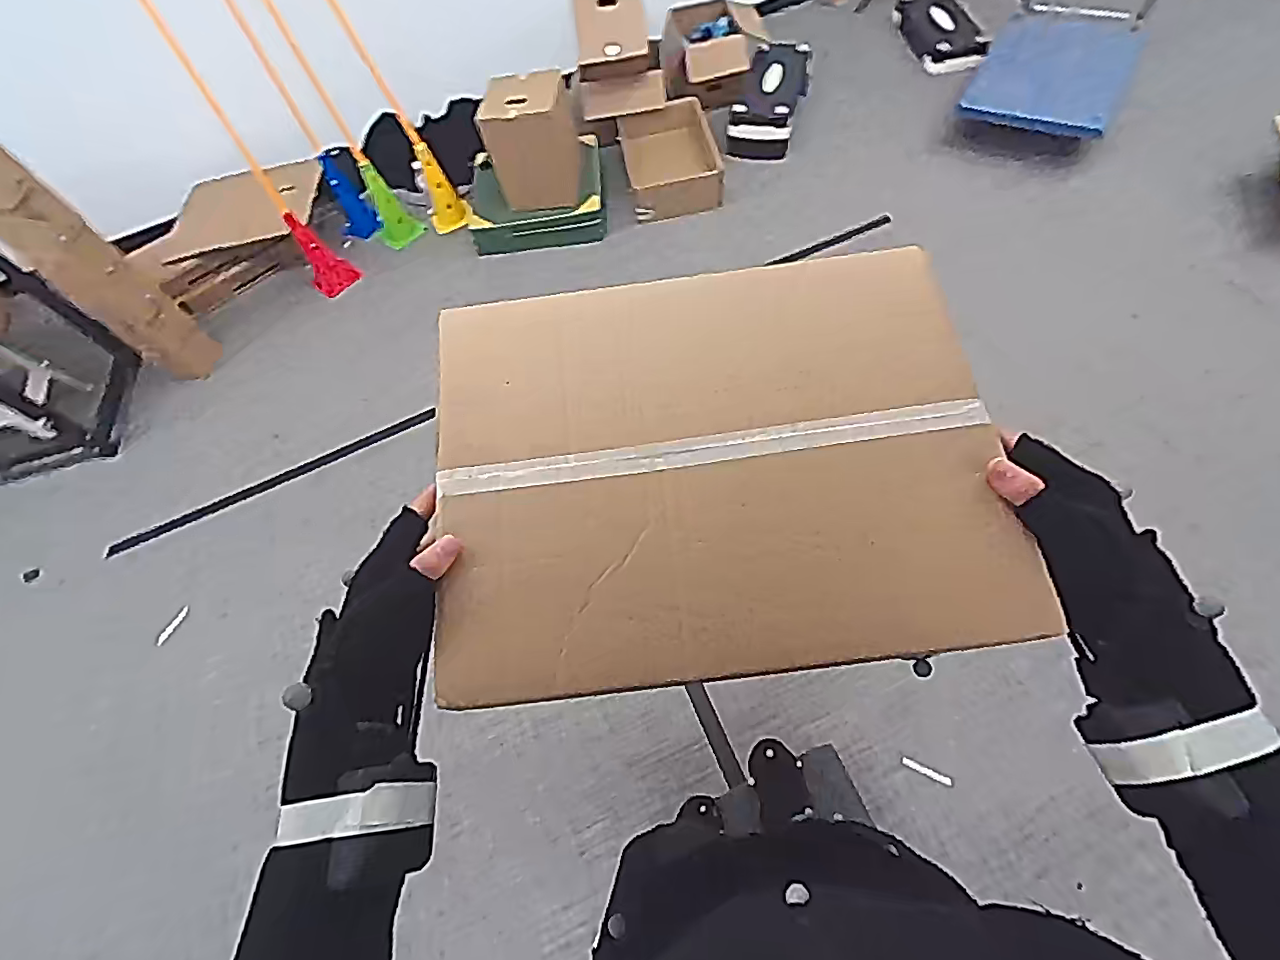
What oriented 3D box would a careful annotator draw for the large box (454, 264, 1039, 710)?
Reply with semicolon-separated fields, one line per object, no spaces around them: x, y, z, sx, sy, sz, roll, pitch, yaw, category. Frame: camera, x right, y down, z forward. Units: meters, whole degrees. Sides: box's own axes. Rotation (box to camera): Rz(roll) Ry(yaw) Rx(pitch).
0.066;0.034;0.551;0.408;0.320;0.320;-7;70;2;large box

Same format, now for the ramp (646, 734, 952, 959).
0.439;1.115;1.095;0.509;0.206;0.991;-26;62;-7;ramp
